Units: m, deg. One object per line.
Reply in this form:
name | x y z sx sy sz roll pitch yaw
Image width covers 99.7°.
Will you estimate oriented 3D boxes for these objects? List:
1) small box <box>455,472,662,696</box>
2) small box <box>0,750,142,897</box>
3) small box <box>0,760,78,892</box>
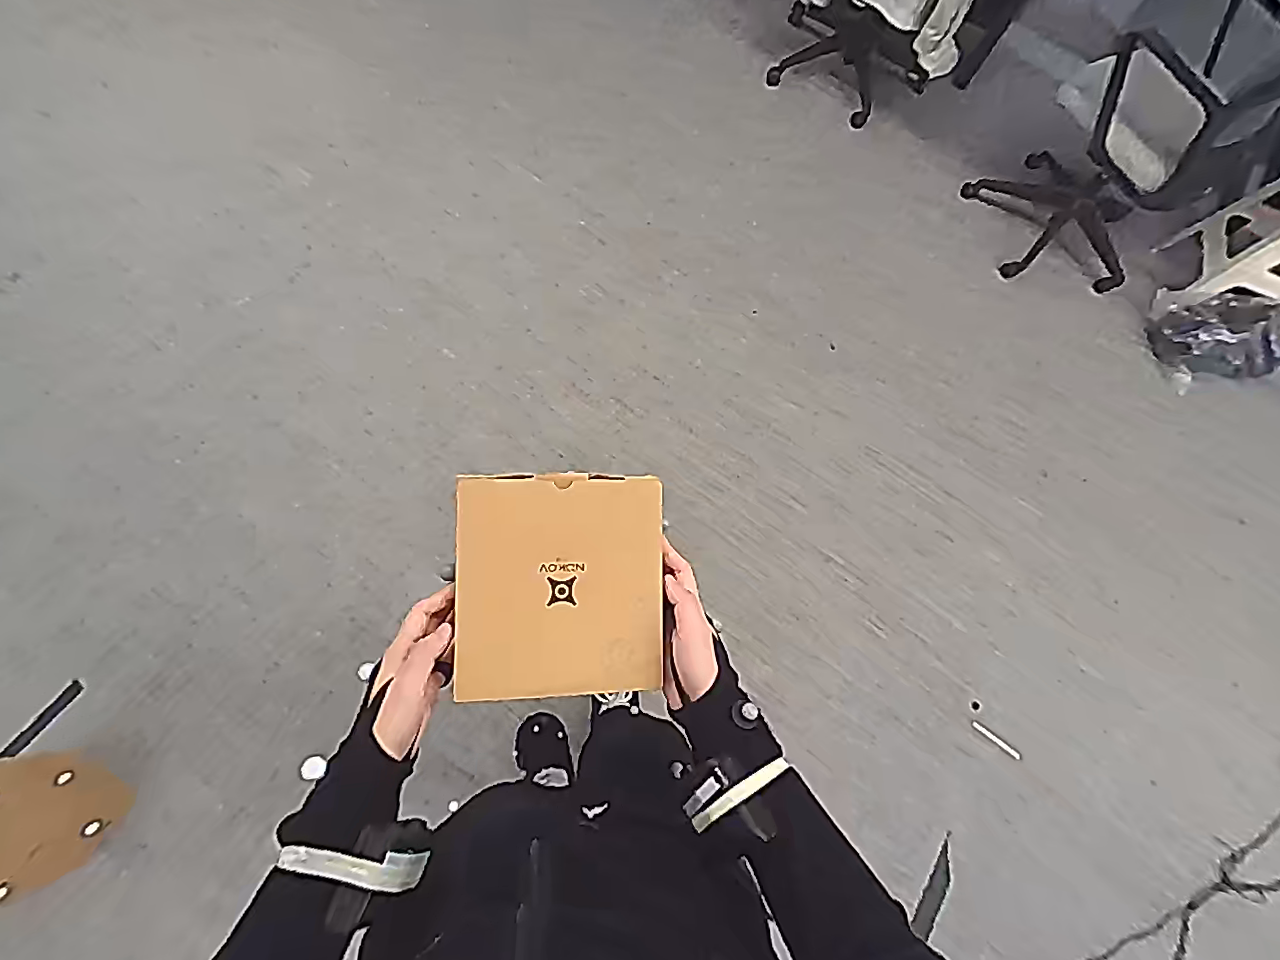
small box | -0.075 0.086 0.511 0.168 0.176 0.179 0 85 -10
small box | -1.157 0.656 1.061 0.179 0.176 0.168 31 70 5
small box | -1.134 0.599 0.908 0.179 0.176 0.168 32 70 5
